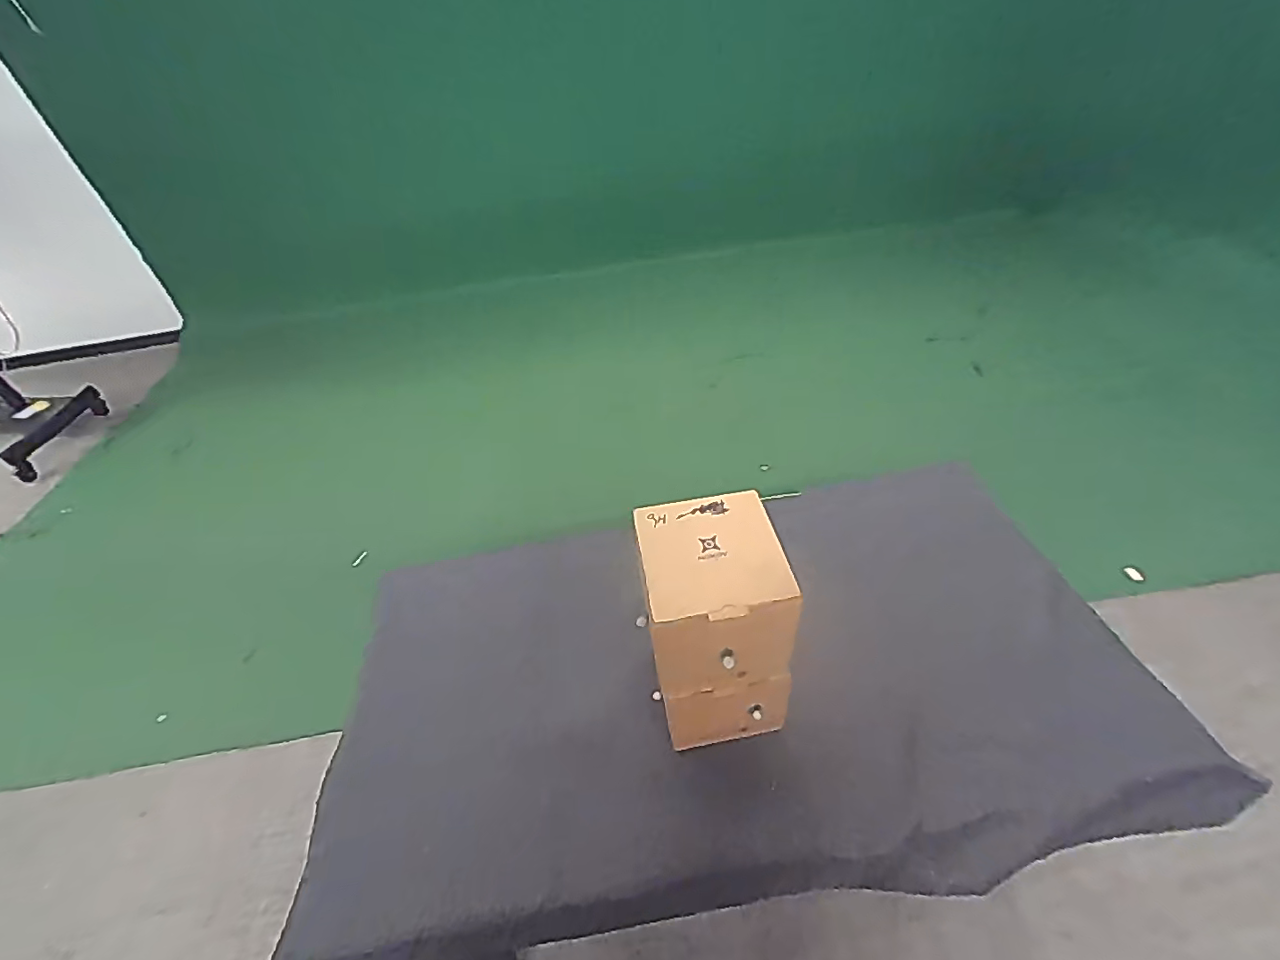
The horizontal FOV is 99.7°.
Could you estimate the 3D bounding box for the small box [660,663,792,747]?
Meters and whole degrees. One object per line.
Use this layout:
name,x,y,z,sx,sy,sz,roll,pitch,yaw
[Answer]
small box,0.112,0.274,0.803,0.168,0.176,0.179,-10,41,-4

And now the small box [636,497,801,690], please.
small box,0.093,0.151,0.696,0.168,0.176,0.179,-9,44,-3
